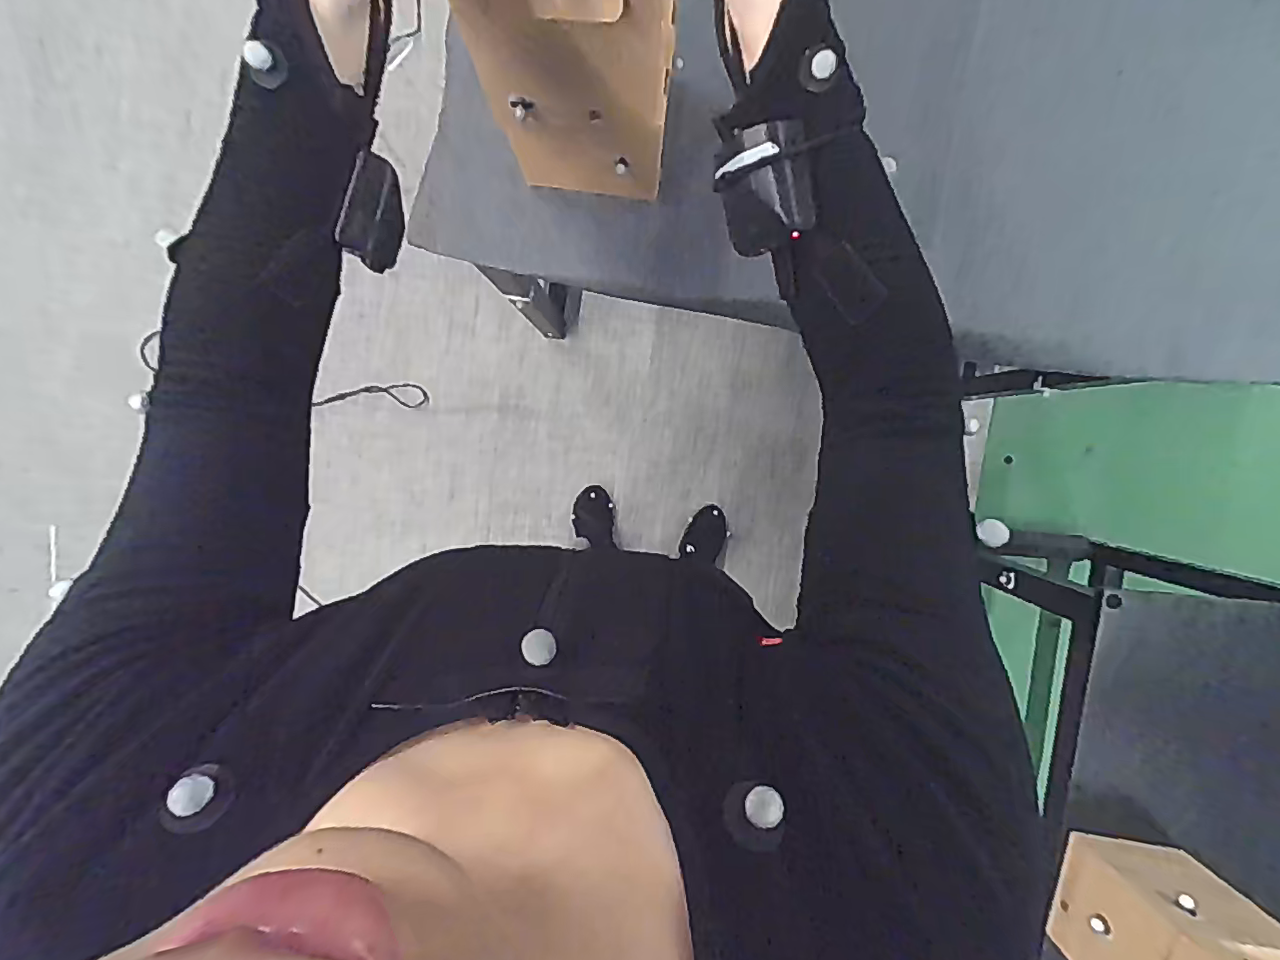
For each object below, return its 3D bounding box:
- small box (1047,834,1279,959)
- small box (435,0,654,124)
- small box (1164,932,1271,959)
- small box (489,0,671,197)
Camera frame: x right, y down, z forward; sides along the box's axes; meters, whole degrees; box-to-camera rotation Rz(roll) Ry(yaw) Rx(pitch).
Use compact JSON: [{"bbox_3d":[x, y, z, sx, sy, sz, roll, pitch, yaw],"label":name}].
[{"bbox_3d":[0.703,0.618,0.727,0.179,0.176,0.168,10,96,-1],"label":"small box"},{"bbox_3d":[-0.070,-0.446,0.471,0.168,0.176,0.179,2,92,-1],"label":"small box"},{"bbox_3d":[0.681,0.643,0.567,0.168,0.176,0.179,18,94,-1],"label":"small box"},{"bbox_3d":[-0.062,-0.457,0.635,0.179,0.176,0.168,6,93,0],"label":"small box"}]
